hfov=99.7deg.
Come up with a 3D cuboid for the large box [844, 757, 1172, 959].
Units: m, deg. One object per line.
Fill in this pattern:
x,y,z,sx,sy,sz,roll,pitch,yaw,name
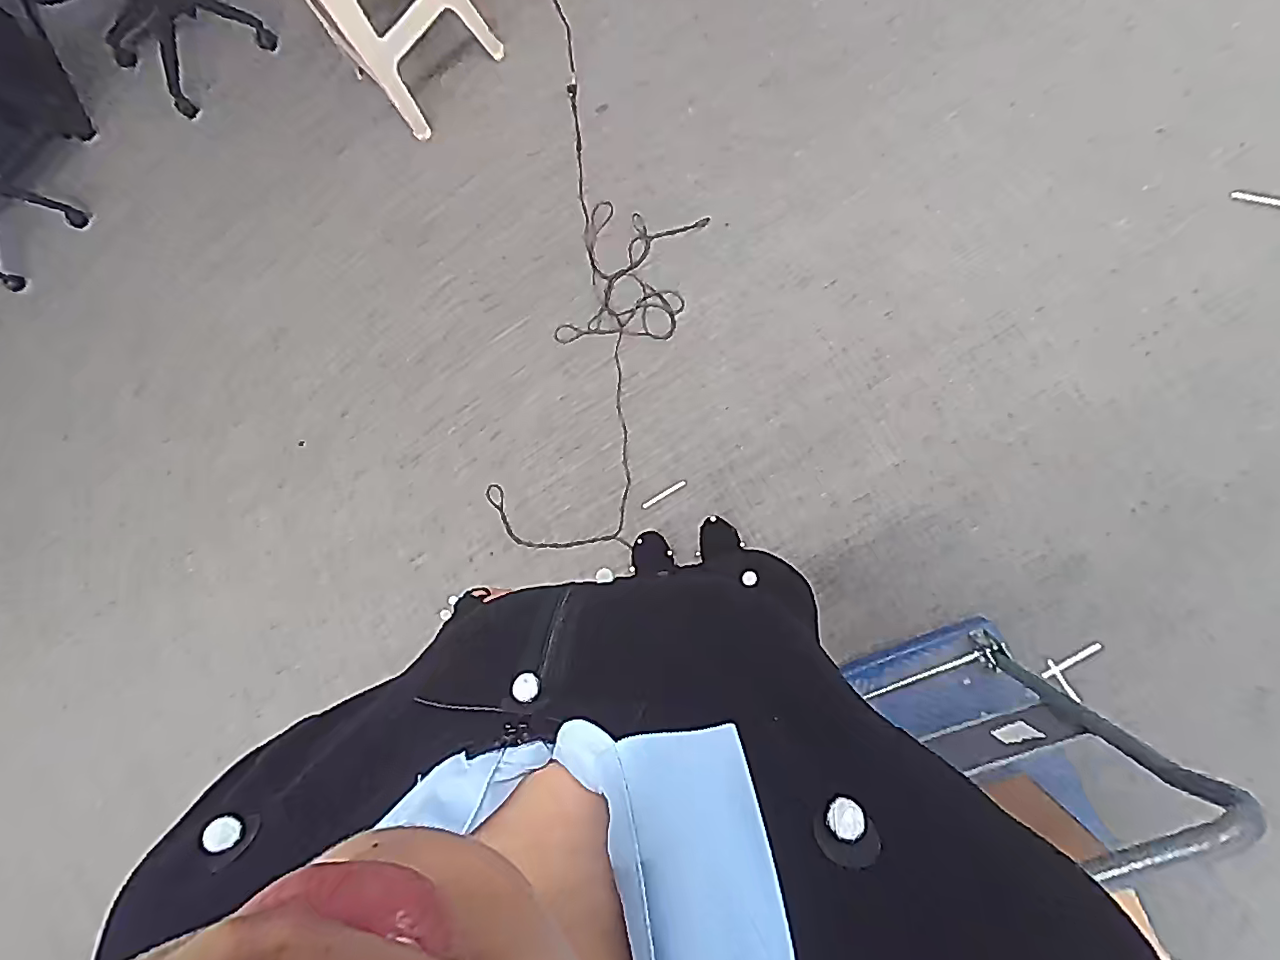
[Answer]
0.675,0.810,1.044,0.408,0.320,0.320,-25,83,7,large box
